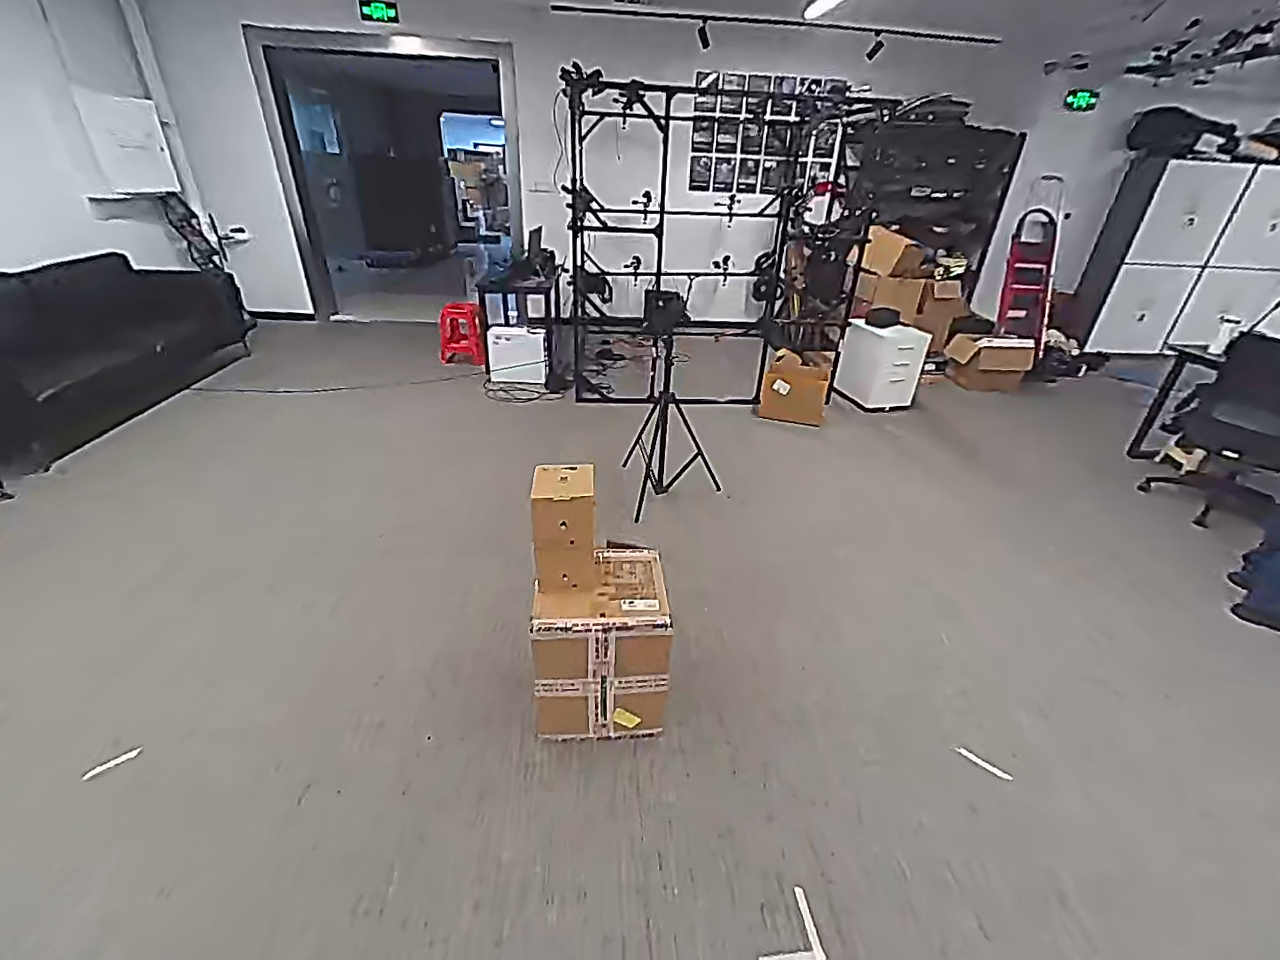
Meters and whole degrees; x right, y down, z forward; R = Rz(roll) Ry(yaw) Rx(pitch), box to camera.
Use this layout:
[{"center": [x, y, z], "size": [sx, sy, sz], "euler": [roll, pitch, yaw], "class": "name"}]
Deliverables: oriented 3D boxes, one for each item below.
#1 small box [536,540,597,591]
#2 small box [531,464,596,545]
[{"center": [-0.216, 0.208, 1.612], "size": [0.168, 0.176, 0.179], "euler": [-3, 32, -5], "class": "small box"}, {"center": [-0.209, 0.072, 1.519], "size": [0.168, 0.176, 0.179], "euler": [-2, 32, -4], "class": "small box"}]
